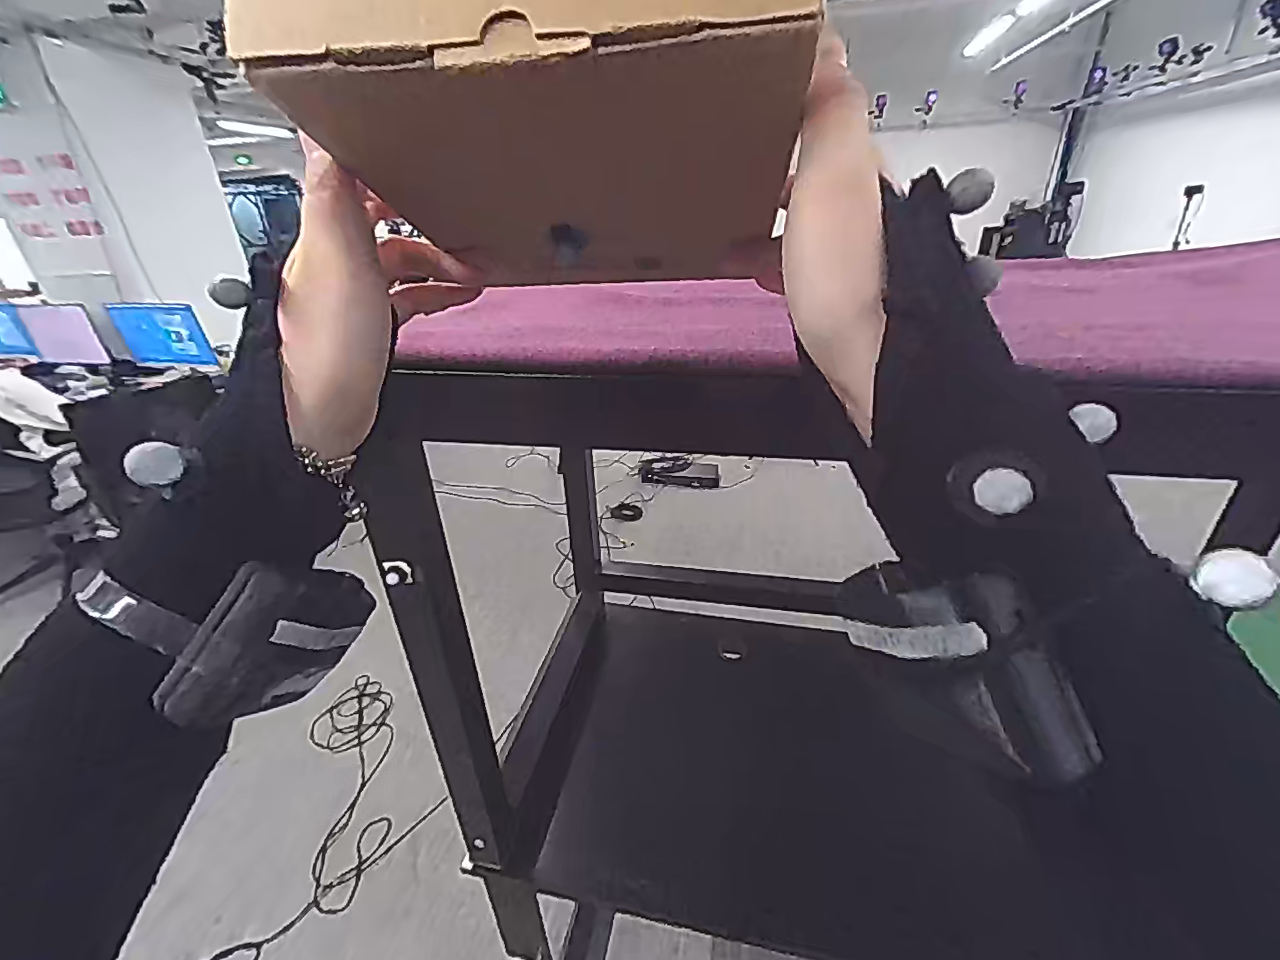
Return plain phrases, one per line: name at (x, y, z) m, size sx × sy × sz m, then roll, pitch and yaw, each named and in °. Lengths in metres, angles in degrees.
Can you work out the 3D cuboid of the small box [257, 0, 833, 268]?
small box at (-0.019, -0.211, 0.229) m, size 0.168 × 0.179 × 0.176 m, roll 0°, pitch 0°, yaw 7°
